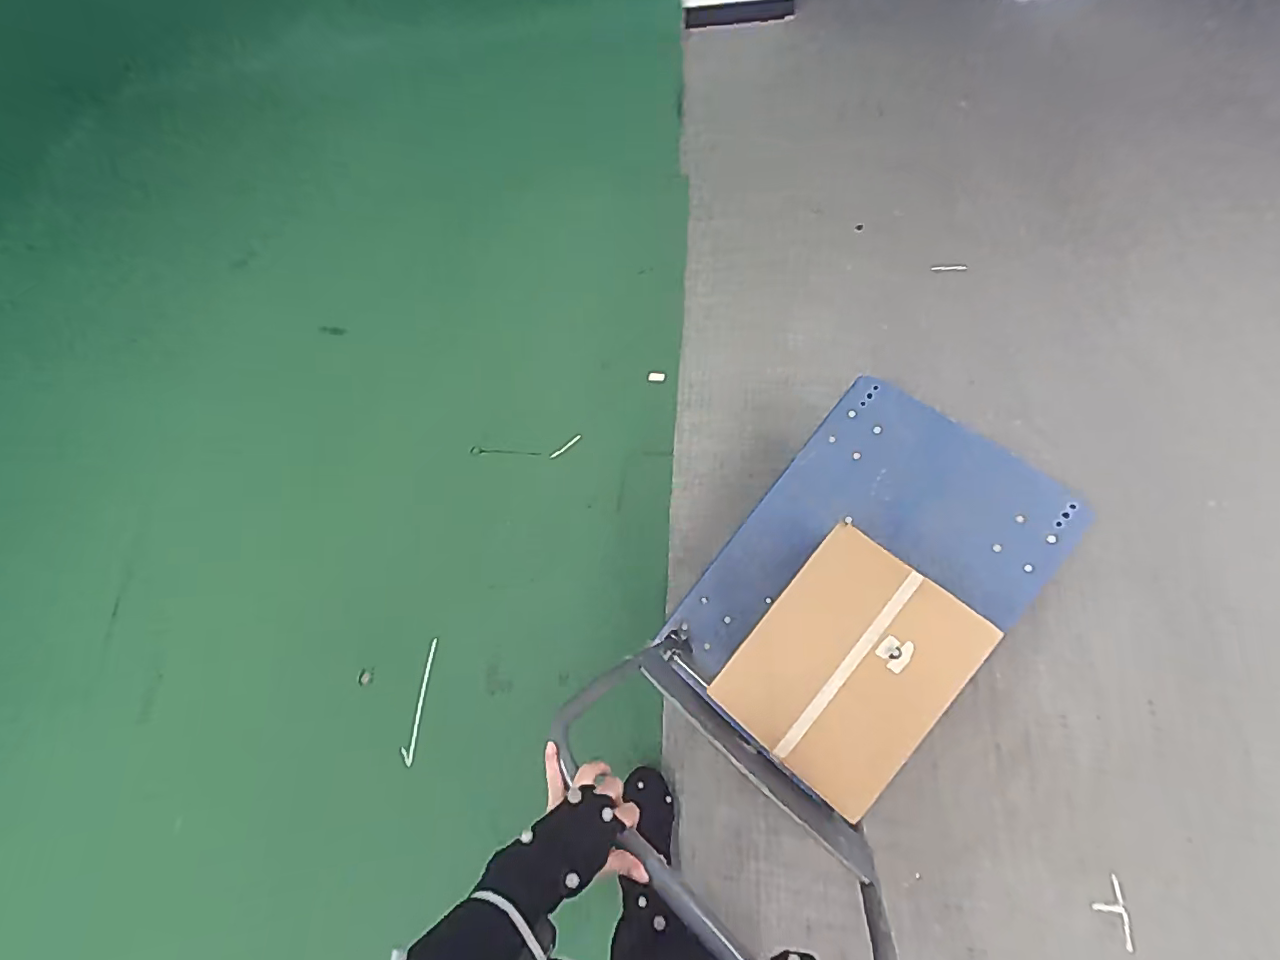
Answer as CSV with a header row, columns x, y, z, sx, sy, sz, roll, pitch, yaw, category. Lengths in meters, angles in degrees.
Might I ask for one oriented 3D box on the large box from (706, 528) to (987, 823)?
x,y,z,sx,sy,sz,roll,pitch,yaw,category
0.388,0.366,1.092,0.320,0.320,0.408,39,88,19,large box
